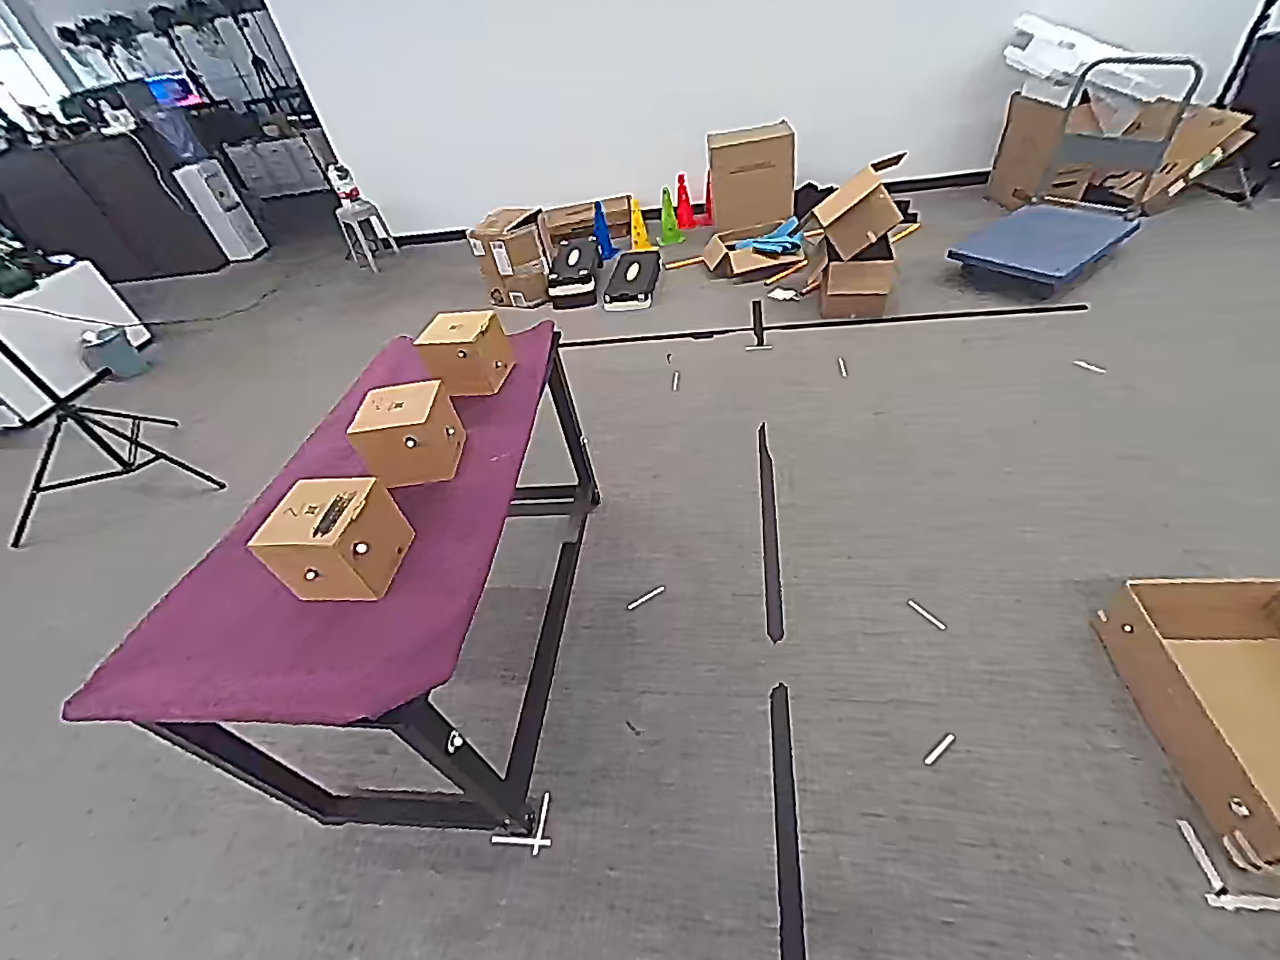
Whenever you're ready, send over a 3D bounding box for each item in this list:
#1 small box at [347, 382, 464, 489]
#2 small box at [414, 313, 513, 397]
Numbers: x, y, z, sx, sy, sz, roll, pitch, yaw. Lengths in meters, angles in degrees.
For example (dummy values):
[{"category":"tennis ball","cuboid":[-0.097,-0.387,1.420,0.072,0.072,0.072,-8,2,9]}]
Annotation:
[{"category":"small box","cuboid":[-0.526,-0.100,1.246,0.179,0.176,0.168,-8,43,4]},{"category":"small box","cuboid":[-0.478,-0.341,1.489,0.179,0.176,0.168,0,45,14]}]
